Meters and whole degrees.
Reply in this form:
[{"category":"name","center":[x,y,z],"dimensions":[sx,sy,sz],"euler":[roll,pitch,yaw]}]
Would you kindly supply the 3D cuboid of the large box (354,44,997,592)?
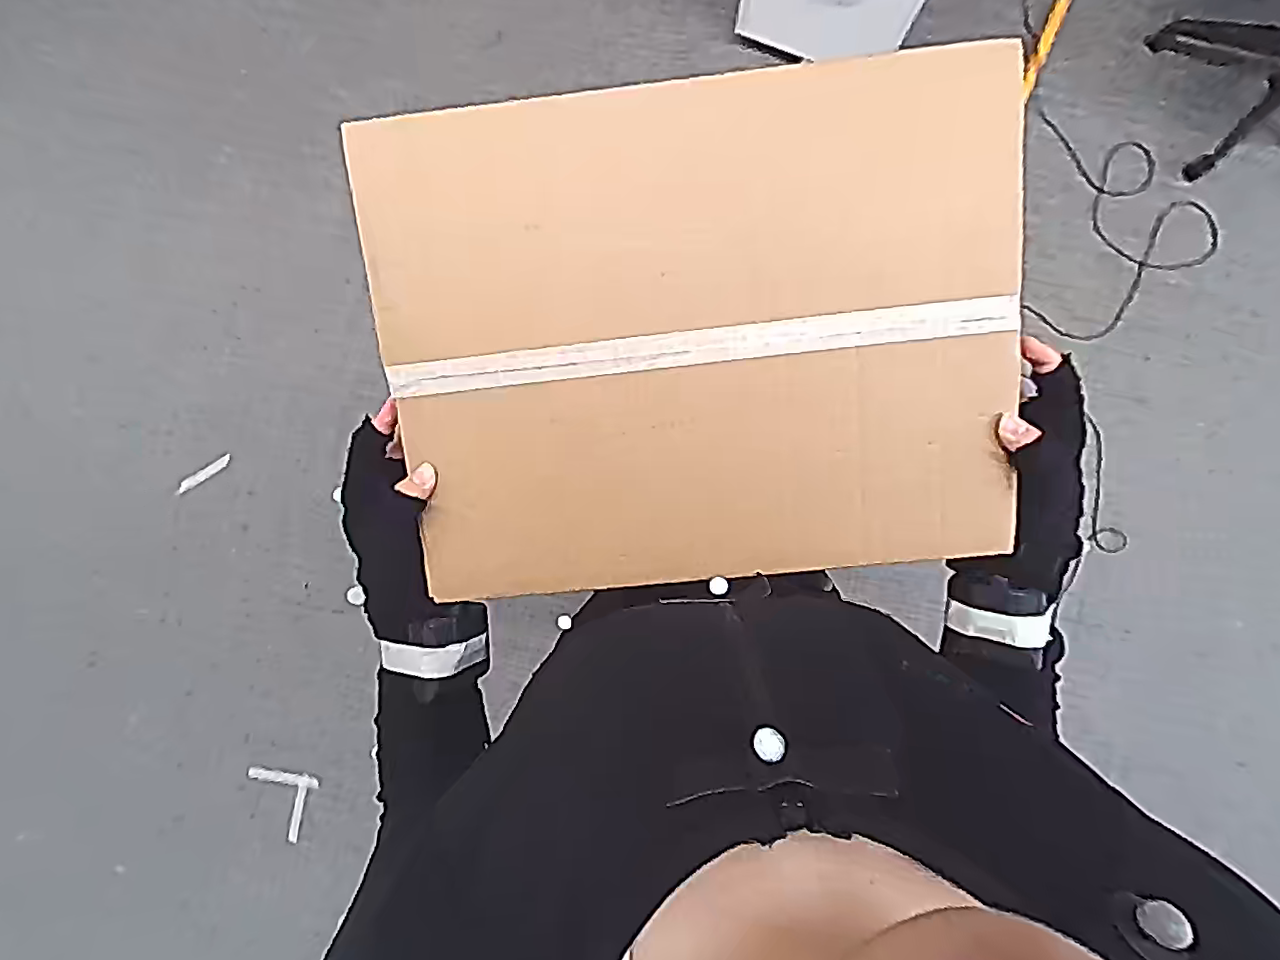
[{"category":"large box","center":[0.034,-0.116,0.505],"dimensions":[0.408,0.320,0.320],"euler":[-6,101,2]}]
